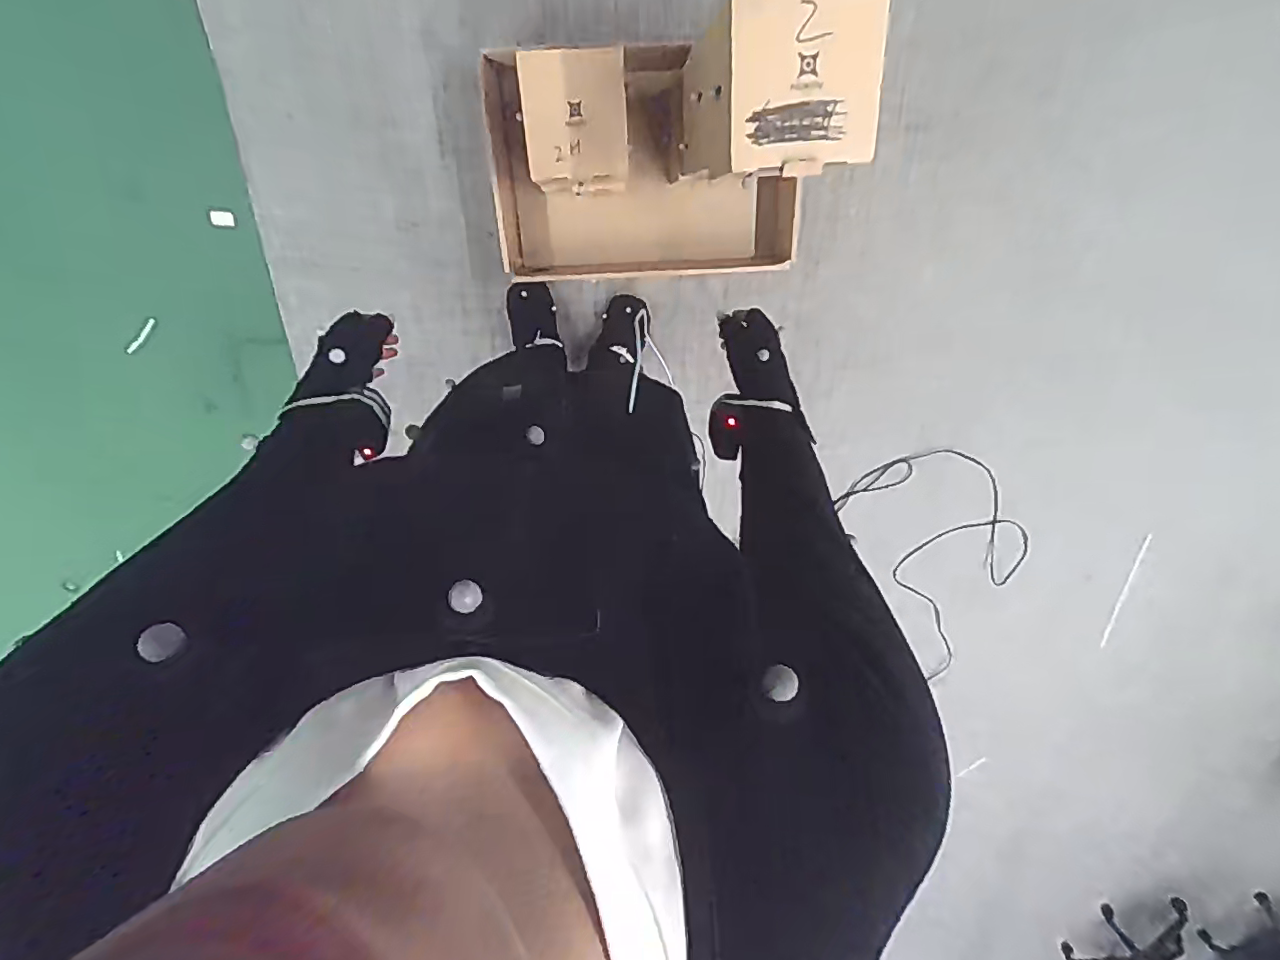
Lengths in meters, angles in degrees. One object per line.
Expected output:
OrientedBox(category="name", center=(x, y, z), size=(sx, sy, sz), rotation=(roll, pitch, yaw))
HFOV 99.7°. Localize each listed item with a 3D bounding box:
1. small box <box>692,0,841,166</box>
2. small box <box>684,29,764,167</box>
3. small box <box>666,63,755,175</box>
OrientedBox(category="small box", center=(0.170, -0.561, 0.786), size=(0.168, 0.176, 0.179), rotation=(-2, 117, -2))
OrientedBox(category="small box", center=(0.165, -0.633, 0.914), size=(0.168, 0.176, 0.179), rotation=(-3, 117, -1))
OrientedBox(category="small box", center=(0.143, -0.713, 1.076), size=(0.168, 0.176, 0.179), rotation=(-6, 116, 1))
